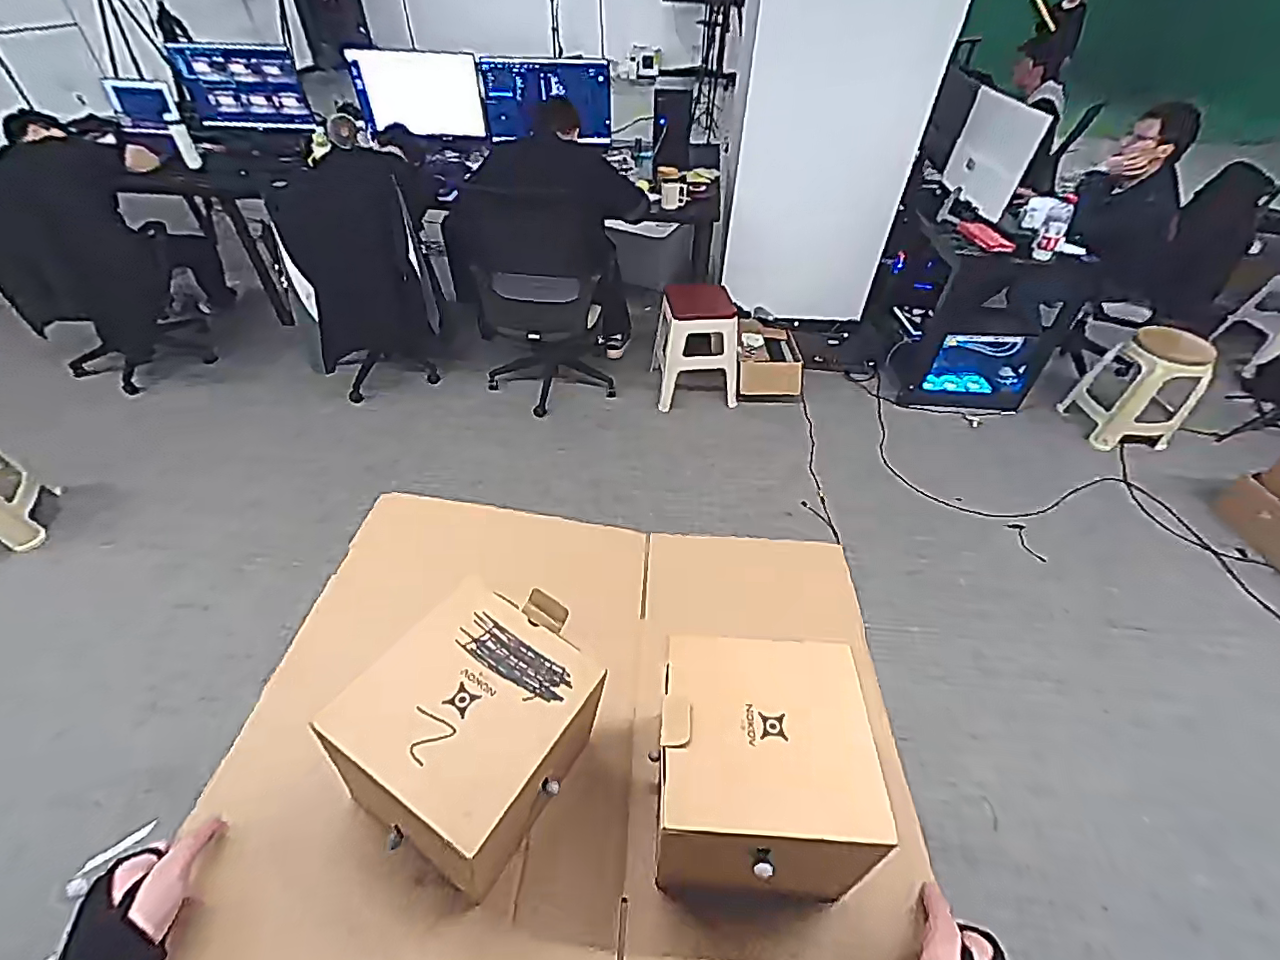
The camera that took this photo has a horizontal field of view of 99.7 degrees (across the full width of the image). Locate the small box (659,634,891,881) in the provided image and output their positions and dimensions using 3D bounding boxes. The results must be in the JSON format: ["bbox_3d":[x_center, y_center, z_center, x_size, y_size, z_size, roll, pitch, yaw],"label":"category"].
[{"bbox_3d":[0.110,0.269,0.524,0.179,0.176,0.168,2,43,3],"label":"small box"}]
